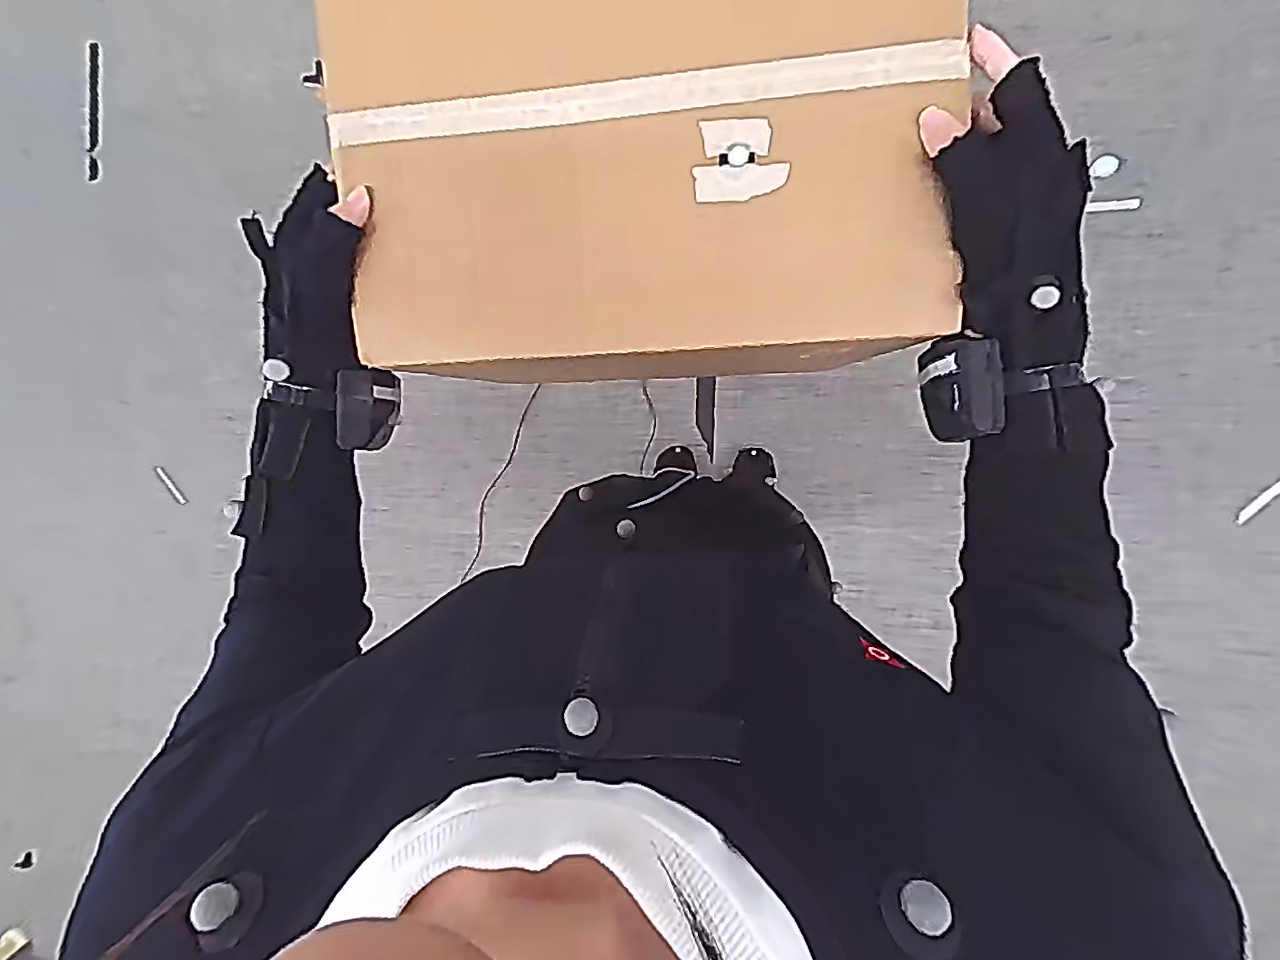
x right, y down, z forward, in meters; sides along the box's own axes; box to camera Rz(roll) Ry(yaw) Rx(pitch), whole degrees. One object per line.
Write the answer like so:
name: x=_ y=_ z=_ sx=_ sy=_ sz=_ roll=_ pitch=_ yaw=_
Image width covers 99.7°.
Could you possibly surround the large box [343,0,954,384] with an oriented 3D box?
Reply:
large box: x=0.011 y=-0.266 z=0.505 sx=0.408 sy=0.320 sz=0.320 roll=-2 pitch=98 yaw=6
